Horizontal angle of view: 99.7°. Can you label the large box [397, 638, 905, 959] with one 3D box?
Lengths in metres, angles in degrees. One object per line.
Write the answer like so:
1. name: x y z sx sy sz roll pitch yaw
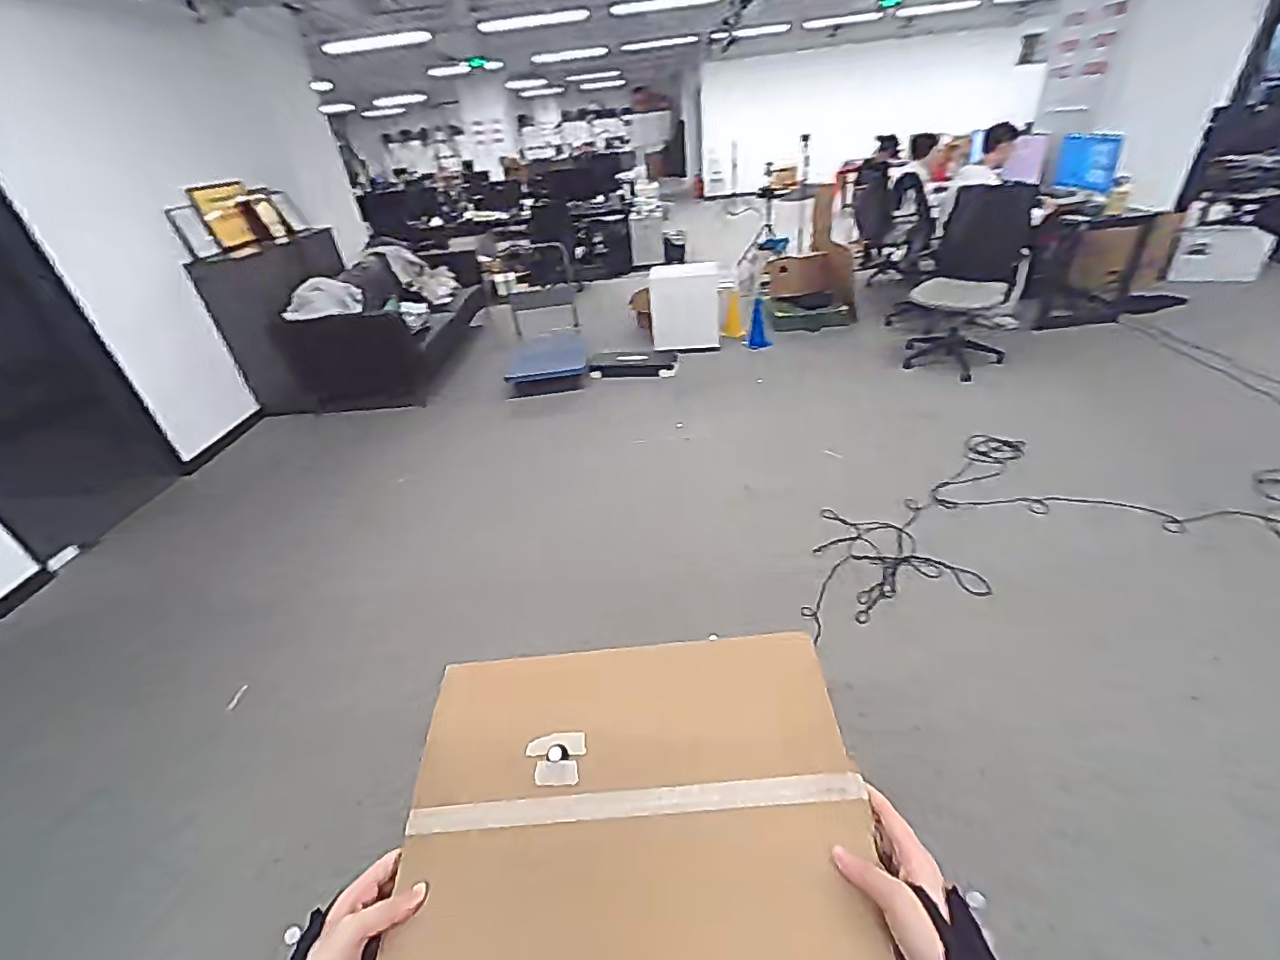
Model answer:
1. large box: 0.020 0.410 0.591 0.408 0.320 0.320 -8 42 6
